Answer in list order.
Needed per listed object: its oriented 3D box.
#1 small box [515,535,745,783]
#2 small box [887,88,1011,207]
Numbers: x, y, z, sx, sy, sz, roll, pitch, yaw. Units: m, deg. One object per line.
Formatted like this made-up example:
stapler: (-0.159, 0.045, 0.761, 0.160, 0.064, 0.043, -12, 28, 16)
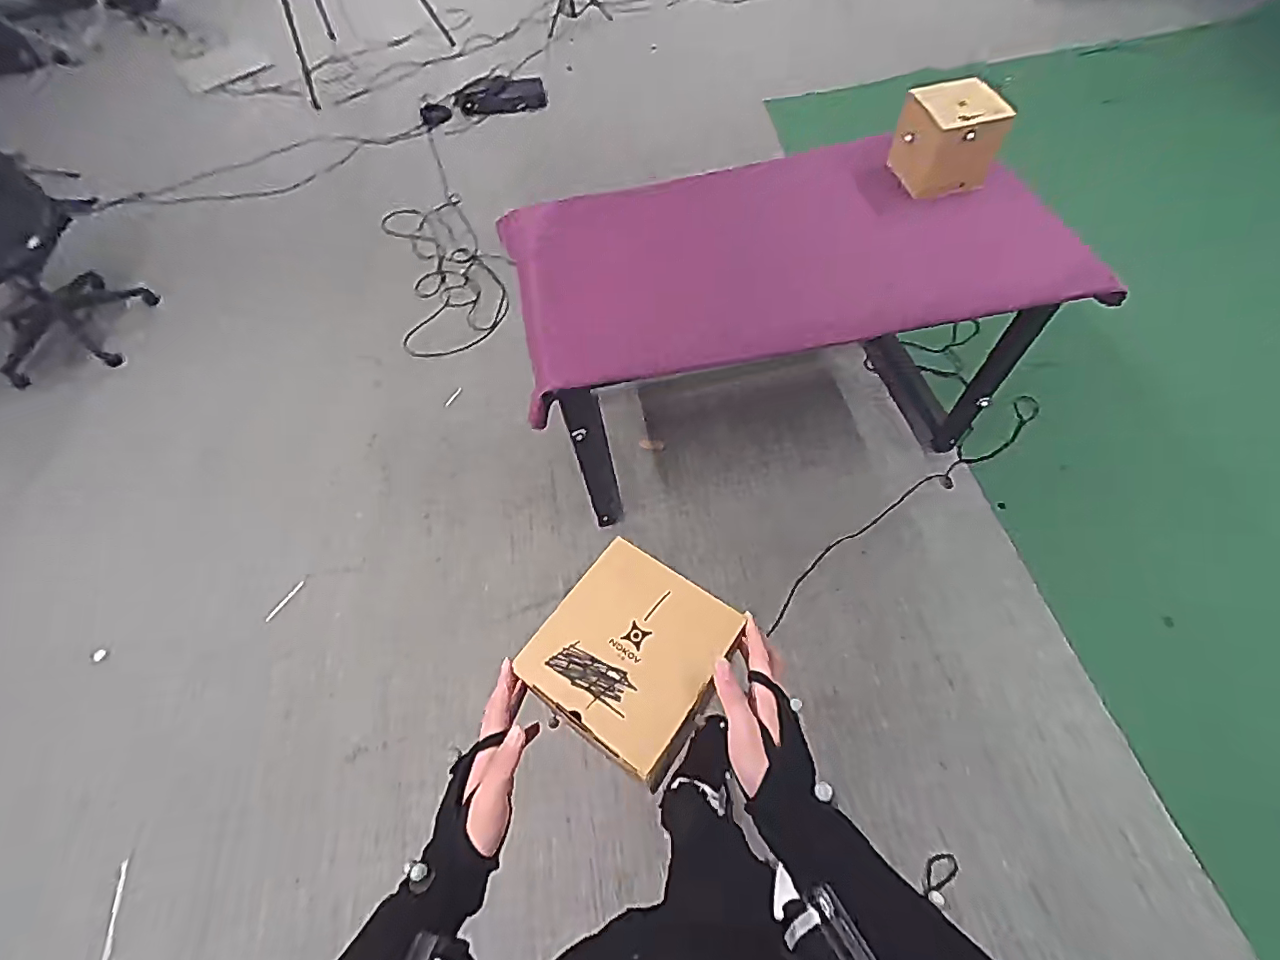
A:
small box: (-0.003, 0.201, 0.595, 0.168, 0.176, 0.179, 30, 62, 22)
small box: (0.715, -0.782, 1.277, 0.168, 0.176, 0.179, -13, 59, -1)
